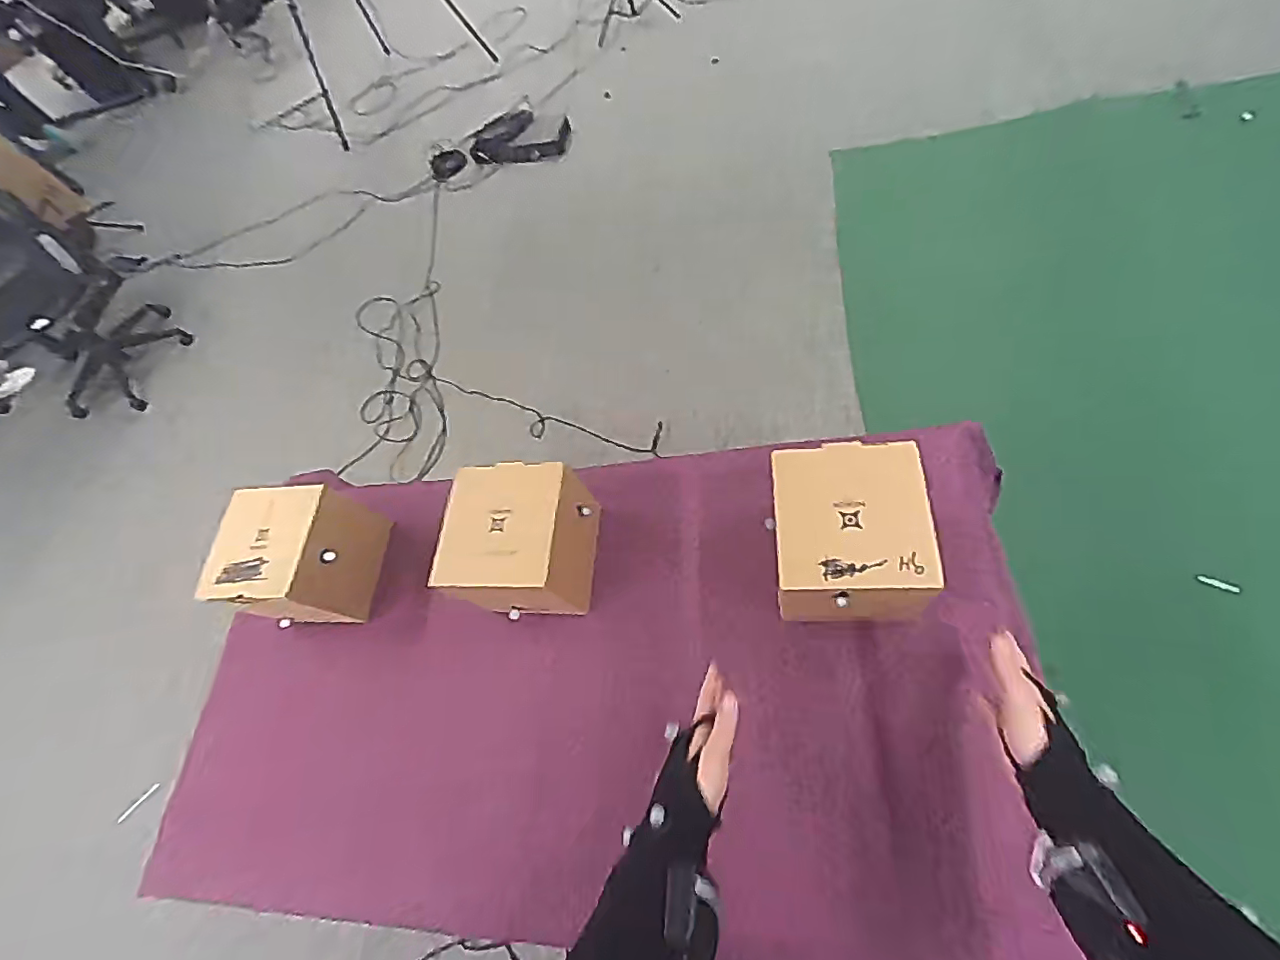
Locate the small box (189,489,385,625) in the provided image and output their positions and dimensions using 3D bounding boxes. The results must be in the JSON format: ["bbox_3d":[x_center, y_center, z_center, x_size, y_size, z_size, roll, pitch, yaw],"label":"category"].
[{"bbox_3d":[-0.534,0.127,0.847,0.168,0.176,0.179,-2,65,12],"label":"small box"}]

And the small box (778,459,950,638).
[{"bbox_3d":[0.260,0.090,0.673,0.168,0.176,0.179,-3,64,14],"label":"small box"}]

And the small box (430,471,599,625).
[{"bbox_3d":[-0.164,0.100,0.775,0.168,0.176,0.179,-1,65,14],"label":"small box"}]
